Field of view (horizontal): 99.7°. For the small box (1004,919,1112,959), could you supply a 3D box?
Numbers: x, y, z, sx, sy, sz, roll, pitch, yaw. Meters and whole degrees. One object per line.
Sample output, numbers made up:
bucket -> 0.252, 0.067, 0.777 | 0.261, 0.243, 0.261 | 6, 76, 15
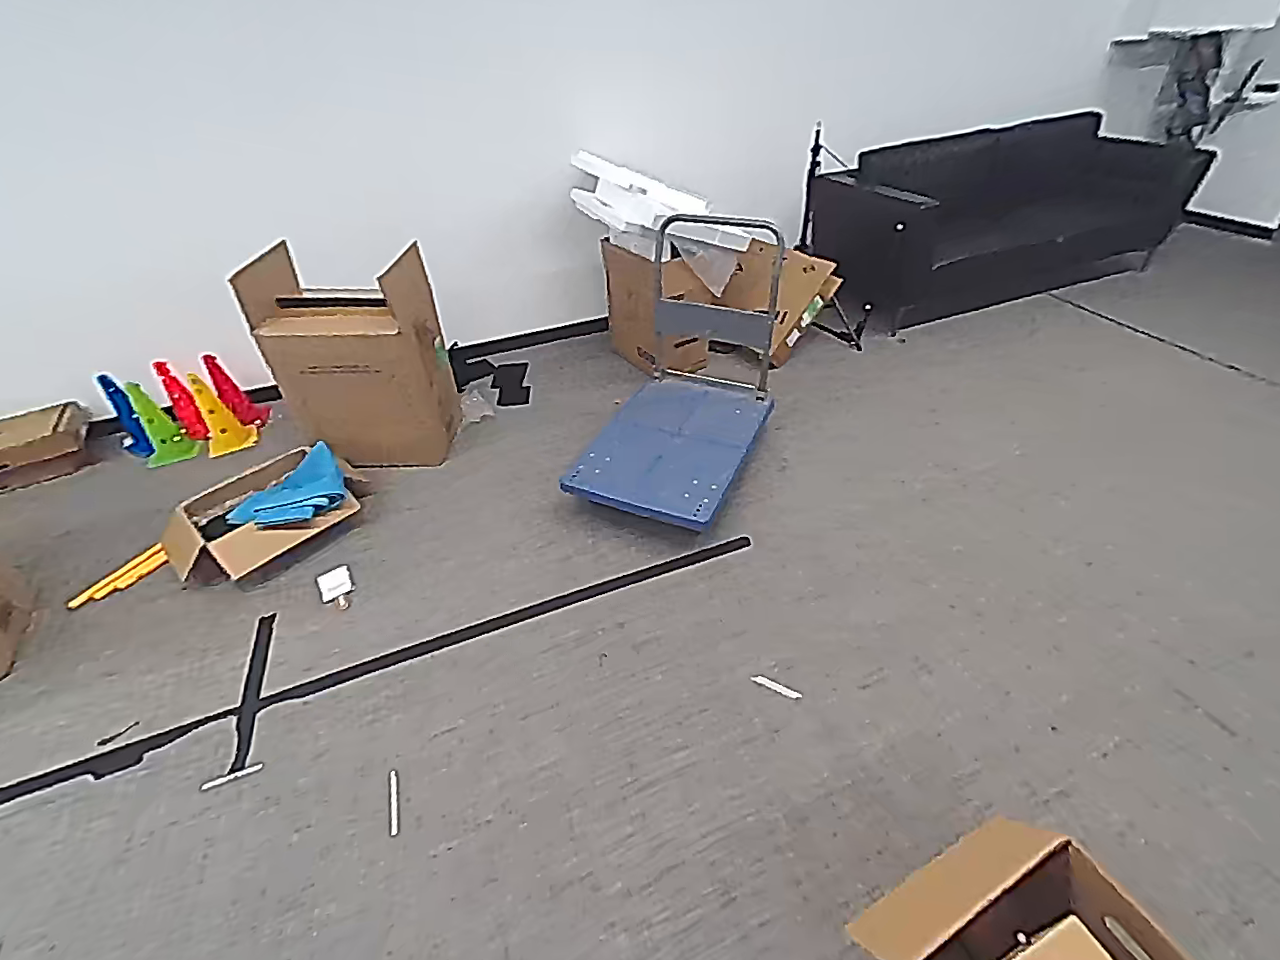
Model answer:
small box -> 0.621, 0.798, 0.793 | 0.179, 0.176, 0.168 | -18, 41, -15
